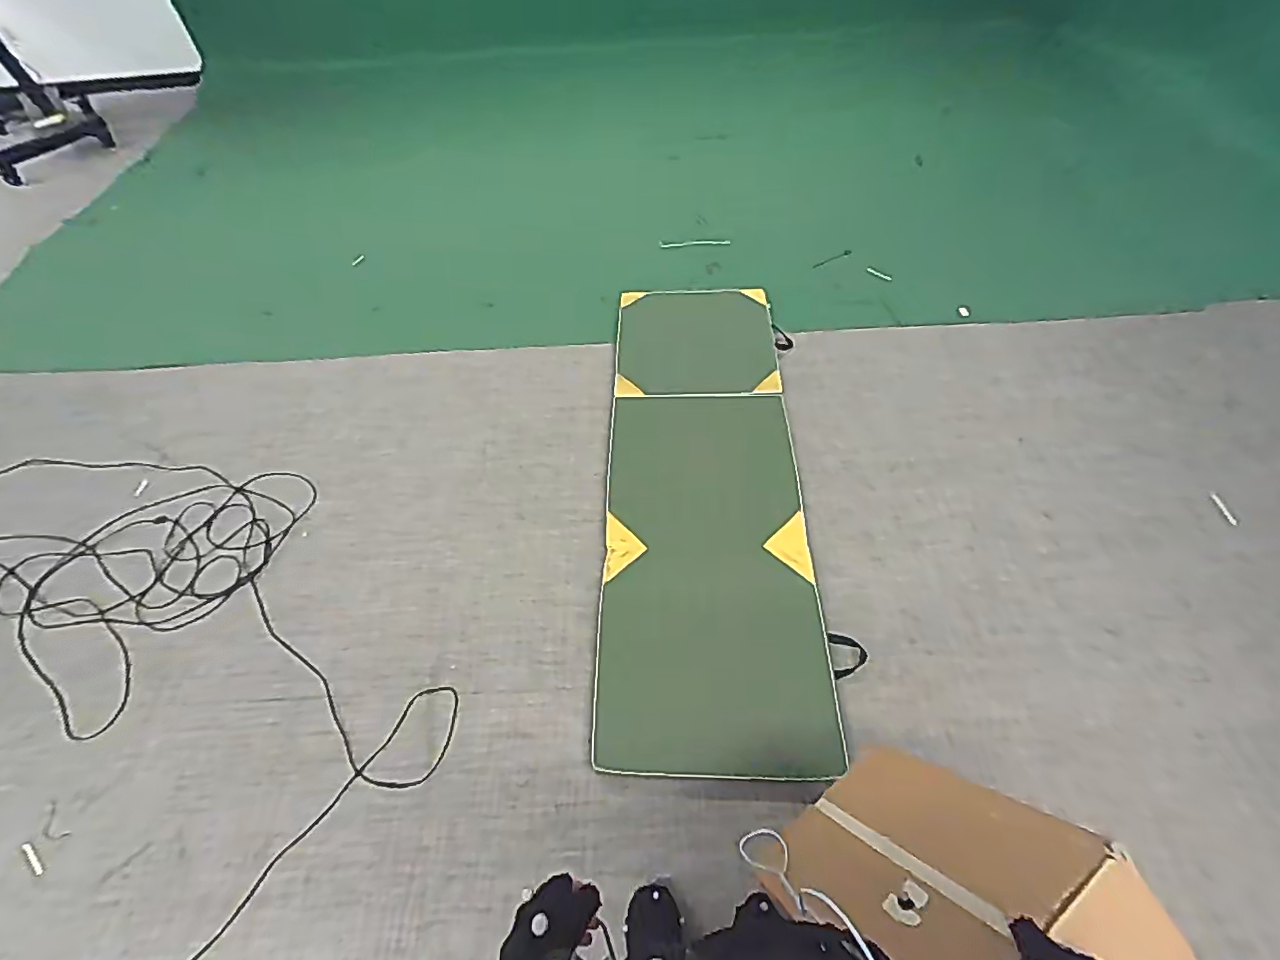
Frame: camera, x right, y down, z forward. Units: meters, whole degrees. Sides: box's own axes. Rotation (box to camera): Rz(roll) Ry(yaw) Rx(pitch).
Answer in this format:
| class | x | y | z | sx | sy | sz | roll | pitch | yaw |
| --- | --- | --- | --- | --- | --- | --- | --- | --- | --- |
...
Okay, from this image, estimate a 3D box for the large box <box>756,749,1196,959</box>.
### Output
| class | x | y | z | sx | sy | sz | roll | pitch | yaw |
| --- | --- | --- | --- | --- | --- | --- | --- | --- | --- |
| large box | 0.434 | 0.635 | 0.723 | 0.320 | 0.408 | 0.320 | -32 | 87 | -18 |
